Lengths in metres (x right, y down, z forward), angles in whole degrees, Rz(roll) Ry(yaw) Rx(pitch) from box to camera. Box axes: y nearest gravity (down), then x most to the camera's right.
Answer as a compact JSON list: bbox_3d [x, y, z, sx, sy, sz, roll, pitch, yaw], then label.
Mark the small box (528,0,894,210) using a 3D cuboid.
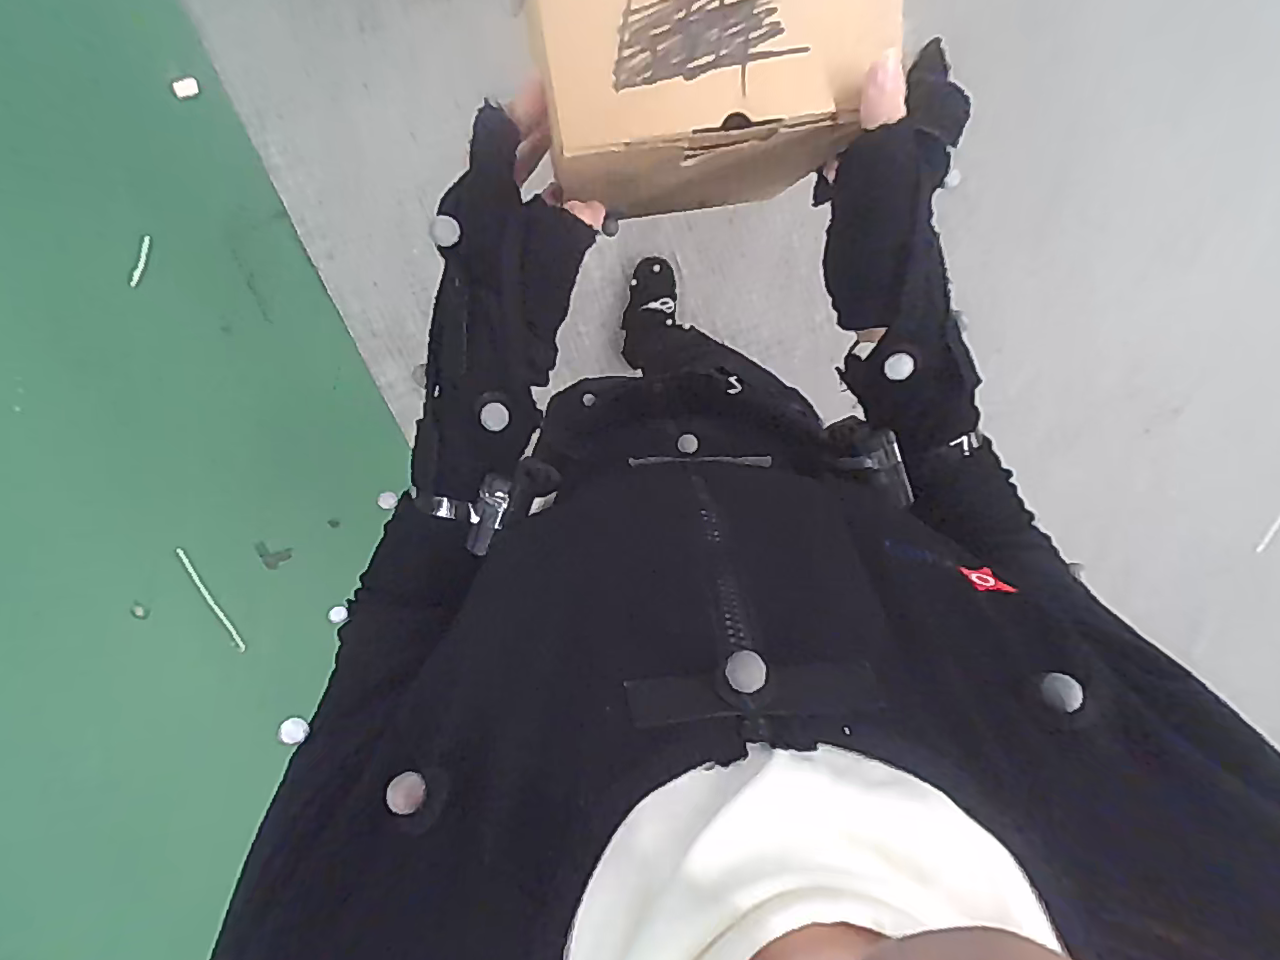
[{"bbox_3d":[0.021,-0.268,0.307,0.168,0.176,0.179,-11,105,-3],"label":"small box"}]
